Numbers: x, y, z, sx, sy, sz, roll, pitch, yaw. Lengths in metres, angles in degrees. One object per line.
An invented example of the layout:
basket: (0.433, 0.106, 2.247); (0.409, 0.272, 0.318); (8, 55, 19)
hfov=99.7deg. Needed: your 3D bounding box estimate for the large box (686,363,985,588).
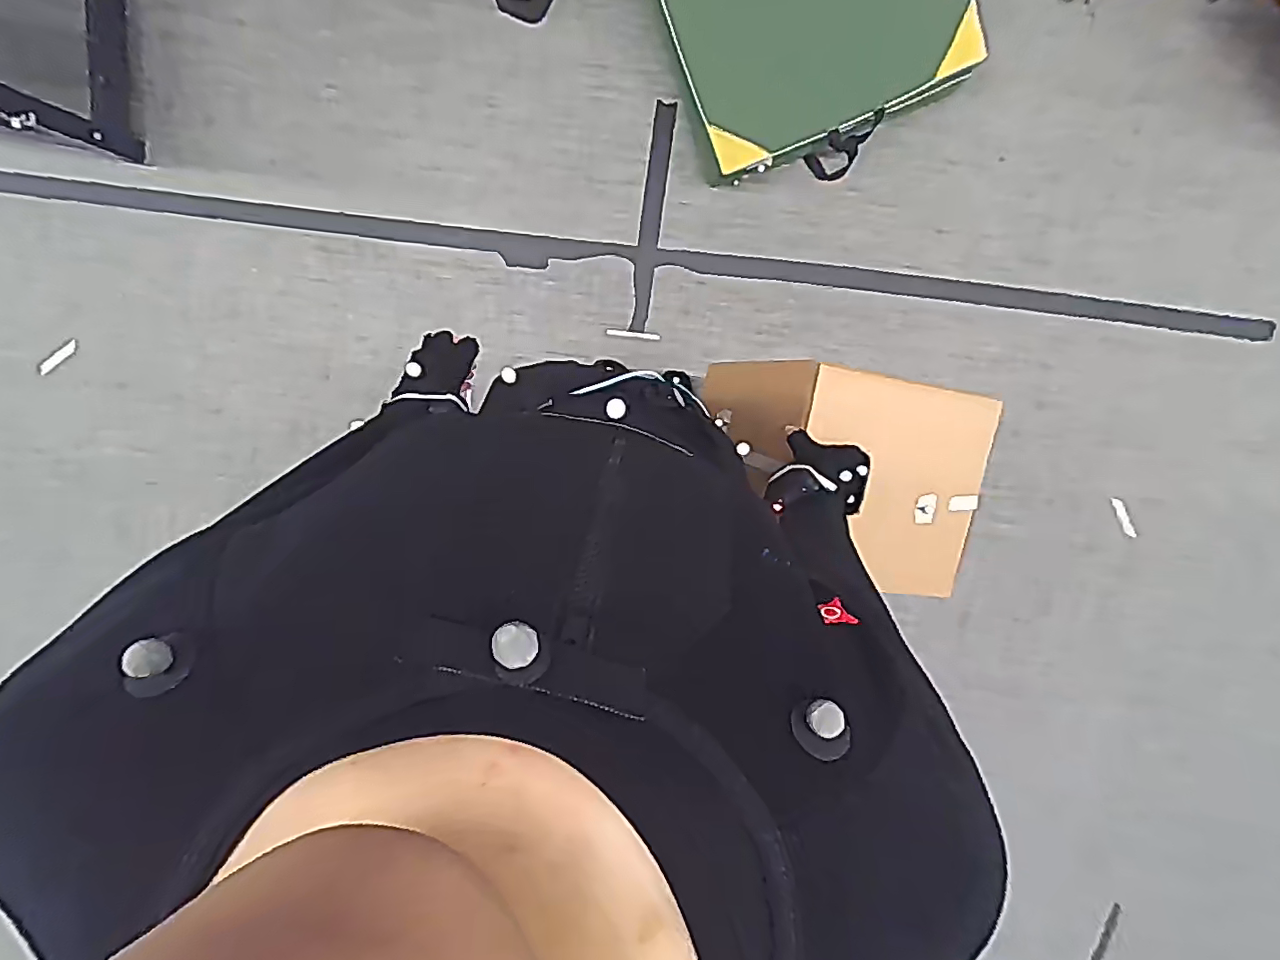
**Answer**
large box: (0.310, -0.026, 0.976); (0.320, 0.408, 0.320); (8, 99, -14)
